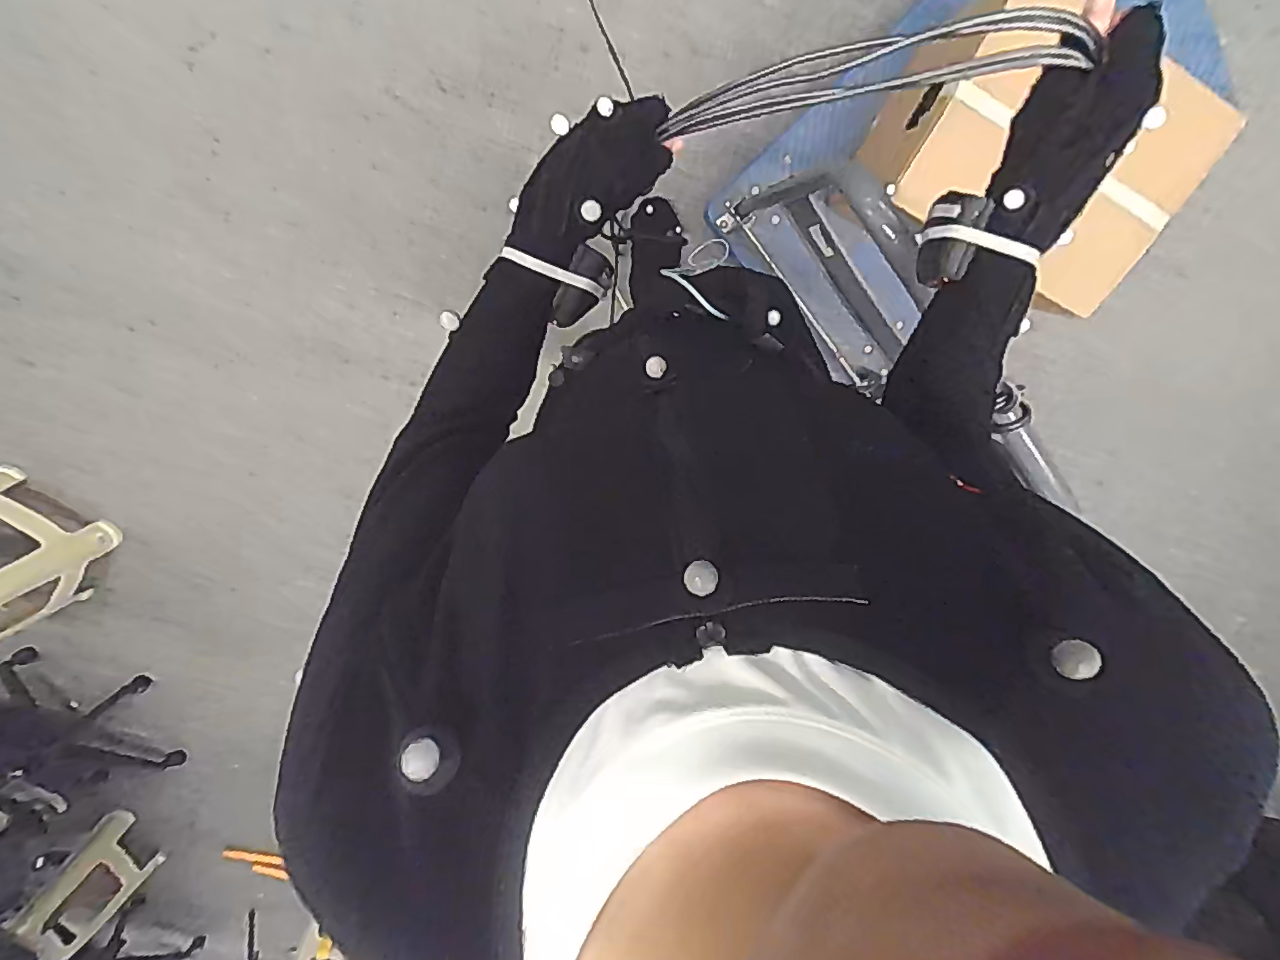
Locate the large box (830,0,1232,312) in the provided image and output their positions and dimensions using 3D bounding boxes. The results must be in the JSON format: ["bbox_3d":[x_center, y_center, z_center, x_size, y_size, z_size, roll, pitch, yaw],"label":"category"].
[{"bbox_3d":[0.623,-0.540,0.945,0.408,0.320,0.320,25,112,-9],"label":"large box"}]
